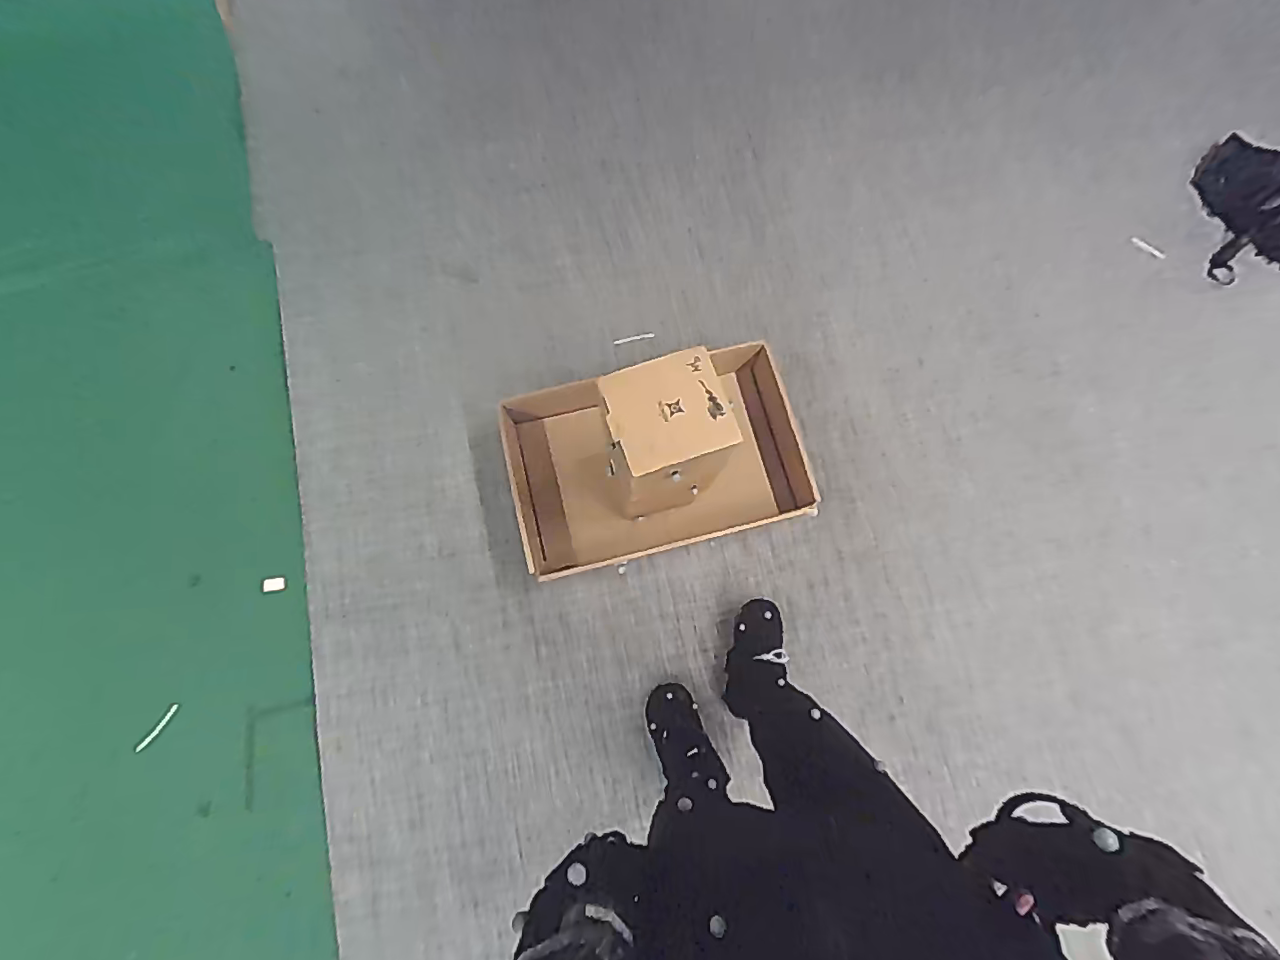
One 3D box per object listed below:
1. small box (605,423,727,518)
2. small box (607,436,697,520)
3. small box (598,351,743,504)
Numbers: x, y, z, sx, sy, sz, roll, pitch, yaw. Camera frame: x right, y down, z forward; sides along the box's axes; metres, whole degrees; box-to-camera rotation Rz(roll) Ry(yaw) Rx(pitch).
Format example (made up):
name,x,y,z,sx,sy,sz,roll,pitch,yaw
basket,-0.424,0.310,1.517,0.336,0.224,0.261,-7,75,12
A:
name,x,y,z,sx,sy,sz,roll,pitch,yaw
small box,0.042,-0.040,1.023,0.179,0.176,0.168,-20,78,-6
small box,0.030,-0.015,1.199,0.168,0.176,0.179,-14,77,-4
small box,0.045,-0.076,0.882,0.179,0.176,0.168,-21,76,-6
